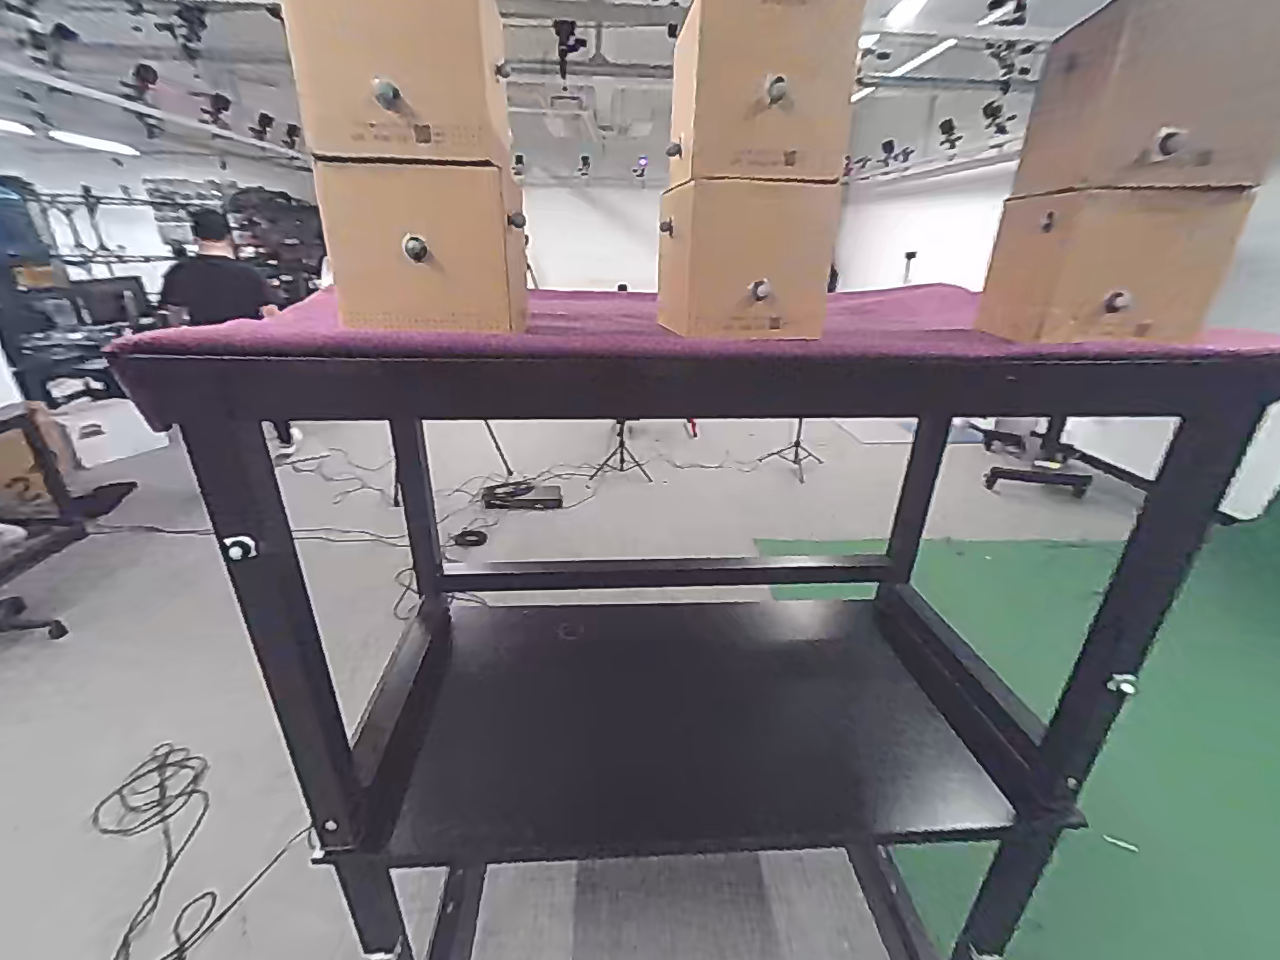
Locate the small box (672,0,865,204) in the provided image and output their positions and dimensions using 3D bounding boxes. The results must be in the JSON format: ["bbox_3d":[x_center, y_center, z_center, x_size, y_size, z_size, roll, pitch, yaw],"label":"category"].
[{"bbox_3d":[0.130,-0.416,0.618,0.168,0.176,0.179,-1,23,-5],"label":"small box"}]

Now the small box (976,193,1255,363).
[{"bbox_3d":[0.543,-0.246,0.655,0.168,0.176,0.179,3,24,7],"label":"small box"}]

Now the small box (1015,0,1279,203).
[{"bbox_3d":[0.544,-0.391,0.583,0.168,0.176,0.179,4,26,10],"label":"small box"}]

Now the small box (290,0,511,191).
[{"bbox_3d":[-0.225,-0.393,0.546,0.168,0.176,0.179,-2,22,-6],"label":"small box"}]
